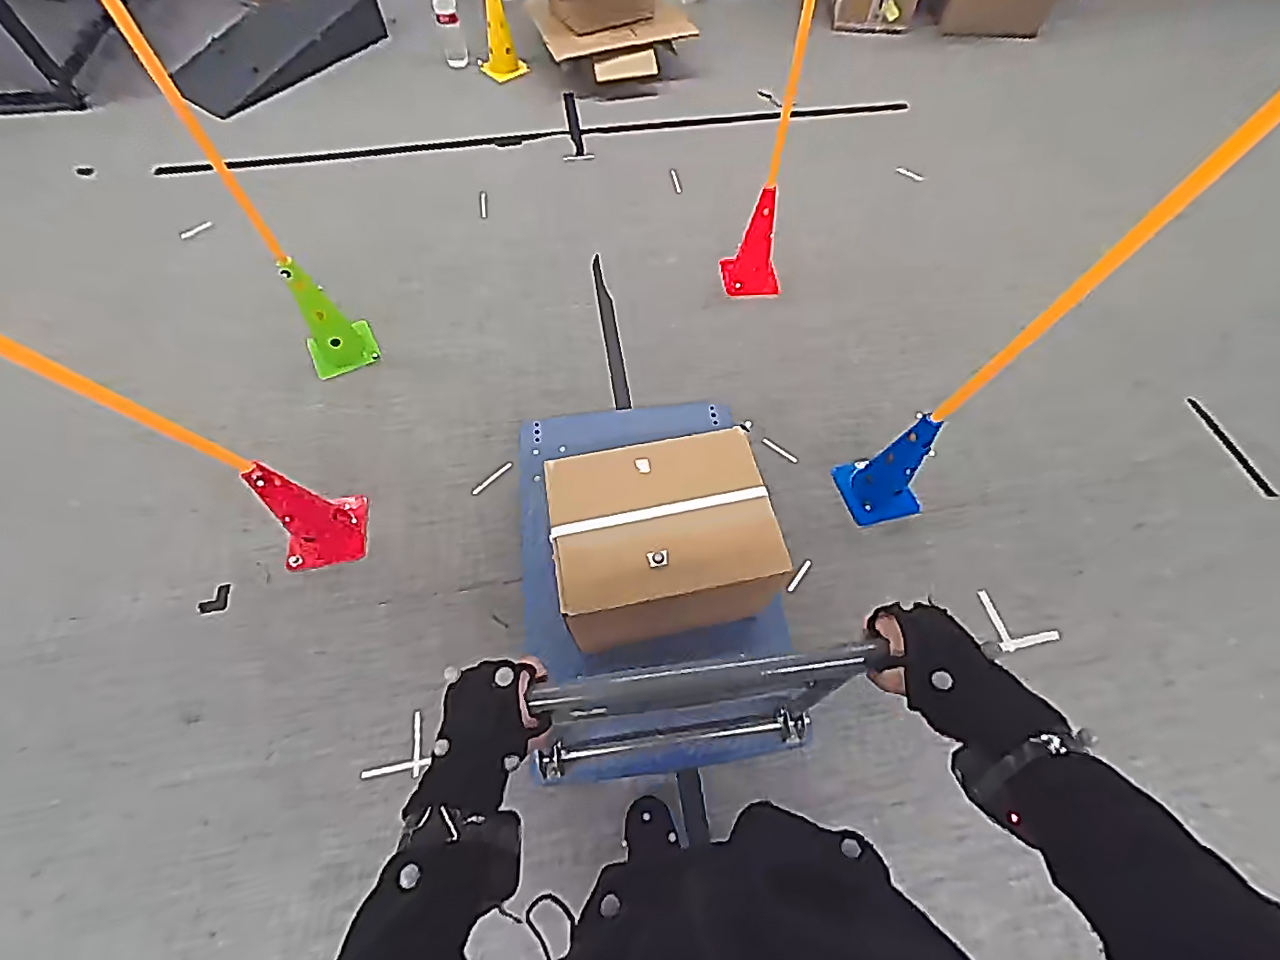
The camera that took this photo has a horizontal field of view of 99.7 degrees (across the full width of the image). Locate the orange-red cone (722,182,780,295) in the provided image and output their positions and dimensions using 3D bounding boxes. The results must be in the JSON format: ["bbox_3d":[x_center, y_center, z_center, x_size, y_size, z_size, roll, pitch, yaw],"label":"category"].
[{"bbox_3d":[0.409,-0.831,1.831,0.199,0.360,0.198,-2,62,-3],"label":"orange-red cone"}]

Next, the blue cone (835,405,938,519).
[{"bbox_3d":[0.686,-0.062,1.429,0.193,0.380,0.192,-11,61,-8],"label":"blue cone"}]
